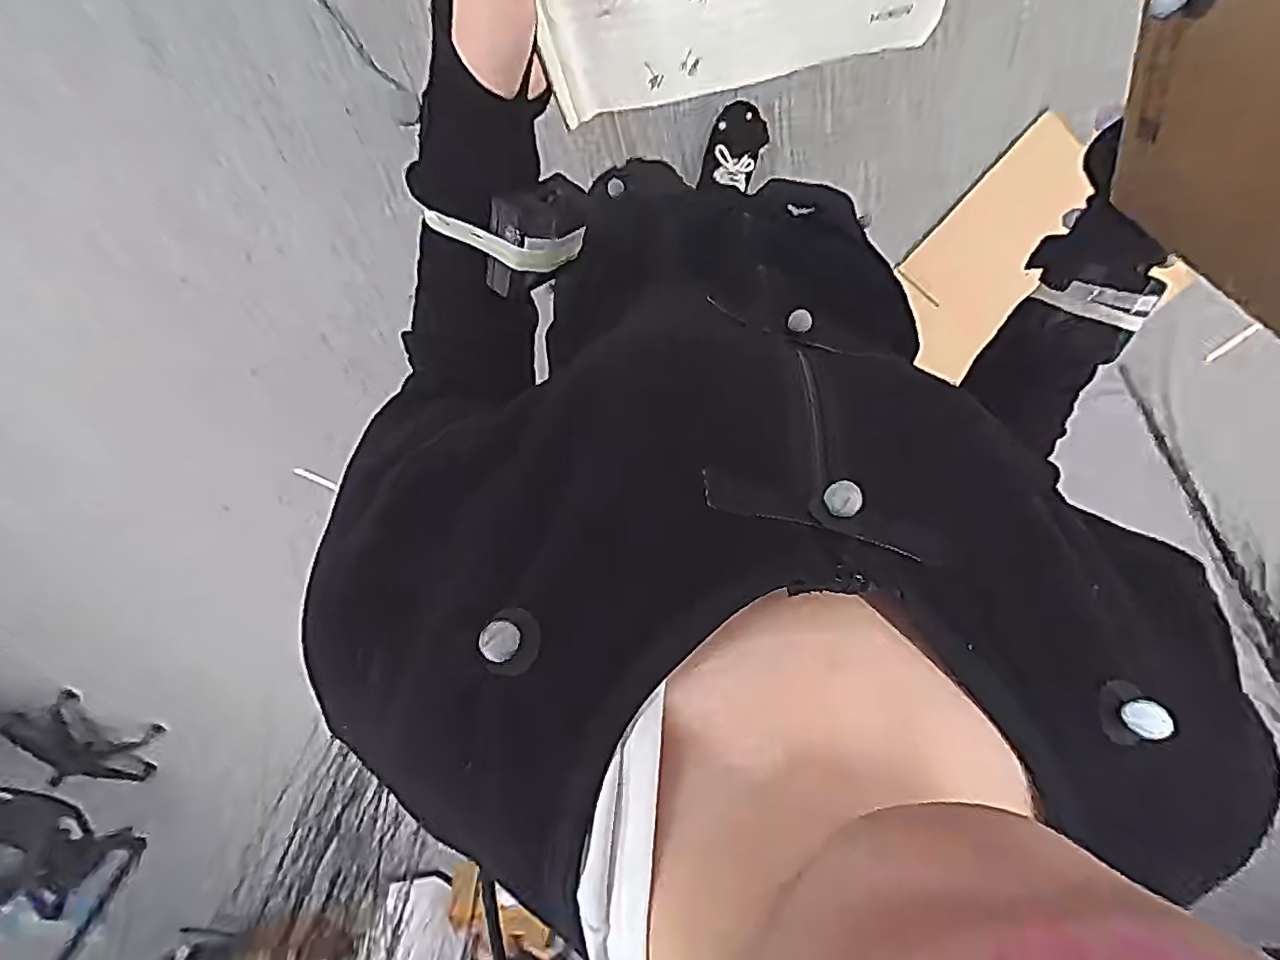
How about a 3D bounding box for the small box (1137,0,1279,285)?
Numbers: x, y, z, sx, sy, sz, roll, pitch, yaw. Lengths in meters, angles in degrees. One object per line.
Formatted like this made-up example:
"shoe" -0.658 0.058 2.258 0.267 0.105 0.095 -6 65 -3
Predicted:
"small box" 0.340 -0.178 0.197 0.179 0.176 0.168 -26 142 21
